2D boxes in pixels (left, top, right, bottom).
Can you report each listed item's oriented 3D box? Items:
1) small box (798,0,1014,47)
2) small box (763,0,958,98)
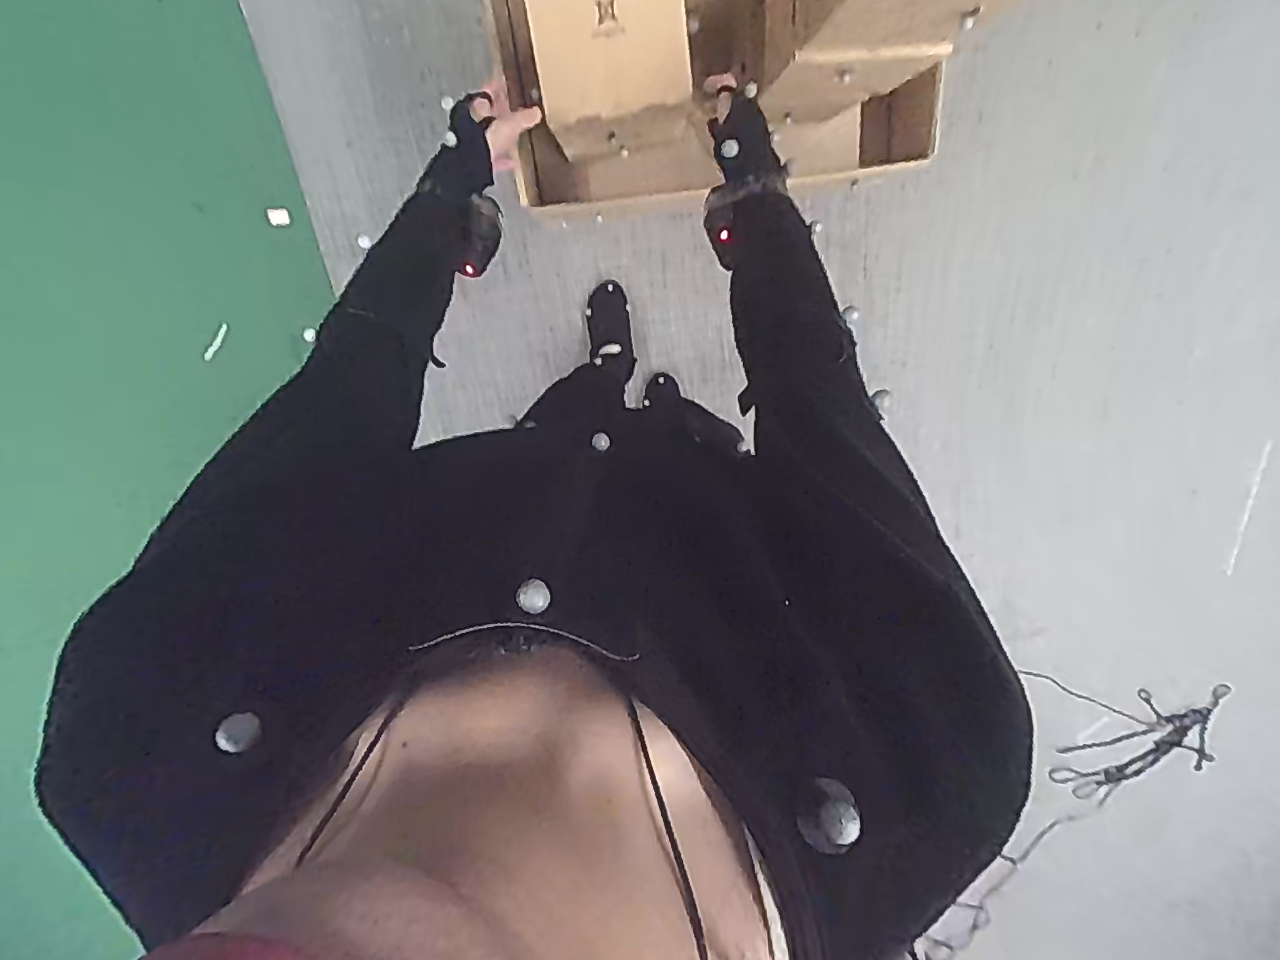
[{"bbox_3d":[0.250,-0.502,0.462,0.179,0.176,0.168,-3,112,1],"label":"small box"},{"bbox_3d":[0.243,-0.555,0.616,0.179,0.176,0.168,-3,113,0],"label":"small box"}]
